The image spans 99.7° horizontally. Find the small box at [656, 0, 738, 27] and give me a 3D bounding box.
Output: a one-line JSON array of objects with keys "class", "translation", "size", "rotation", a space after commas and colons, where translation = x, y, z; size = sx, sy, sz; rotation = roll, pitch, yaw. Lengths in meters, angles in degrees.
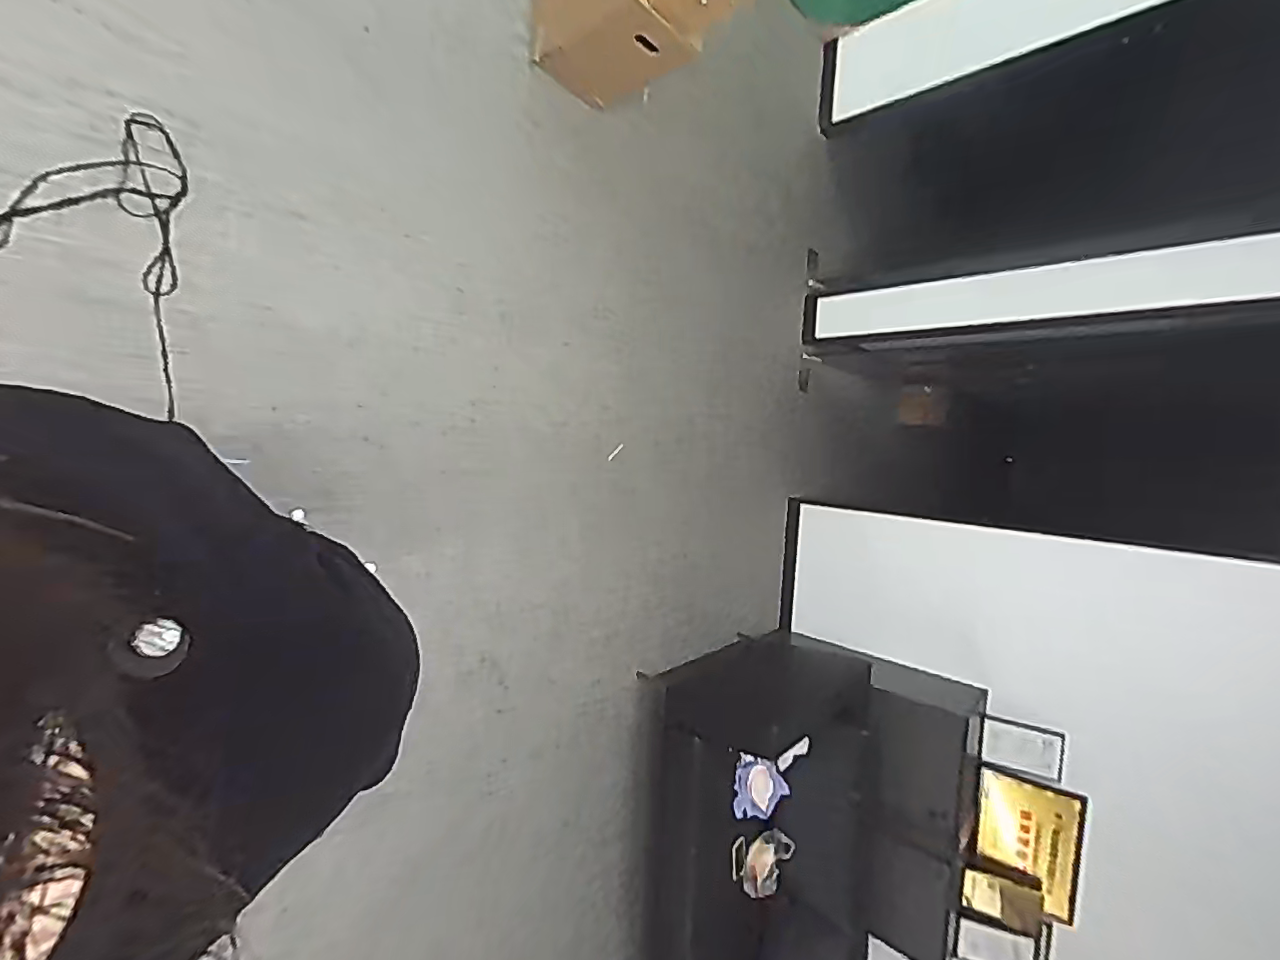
[{"class": "small box", "translation": [0.148, -1.360, 1.437], "size": [0.179, 0.176, 0.168], "rotation": [-2, 96, -46]}]
